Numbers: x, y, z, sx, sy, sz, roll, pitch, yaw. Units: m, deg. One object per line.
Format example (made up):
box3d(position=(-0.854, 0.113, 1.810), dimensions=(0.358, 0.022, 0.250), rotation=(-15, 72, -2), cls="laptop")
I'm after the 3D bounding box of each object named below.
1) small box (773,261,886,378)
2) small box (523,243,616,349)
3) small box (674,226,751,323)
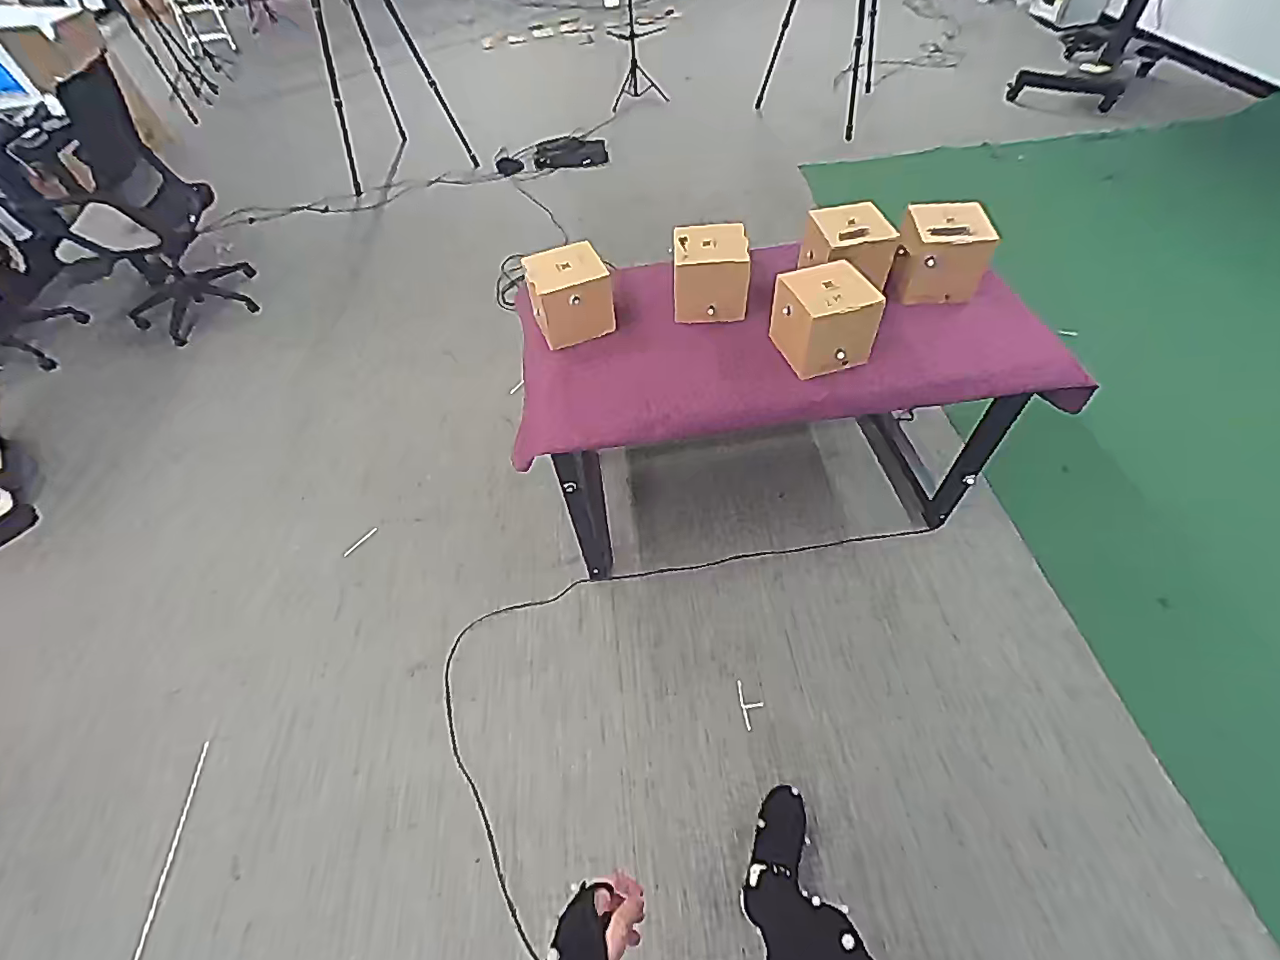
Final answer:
box3d(position=(0.411, -0.358, 1.213), dimensions=(0.168, 0.176, 0.179), rotation=(-15, 52, -5), cls="small box")
box3d(position=(-0.170, -0.451, 1.339), dimensions=(0.179, 0.176, 0.168), rotation=(-20, 55, -10), cls="small box")
box3d(position=(0.175, -0.509, 1.351), dimensions=(0.179, 0.176, 0.168), rotation=(-1, 53, 4), cls="small box")
